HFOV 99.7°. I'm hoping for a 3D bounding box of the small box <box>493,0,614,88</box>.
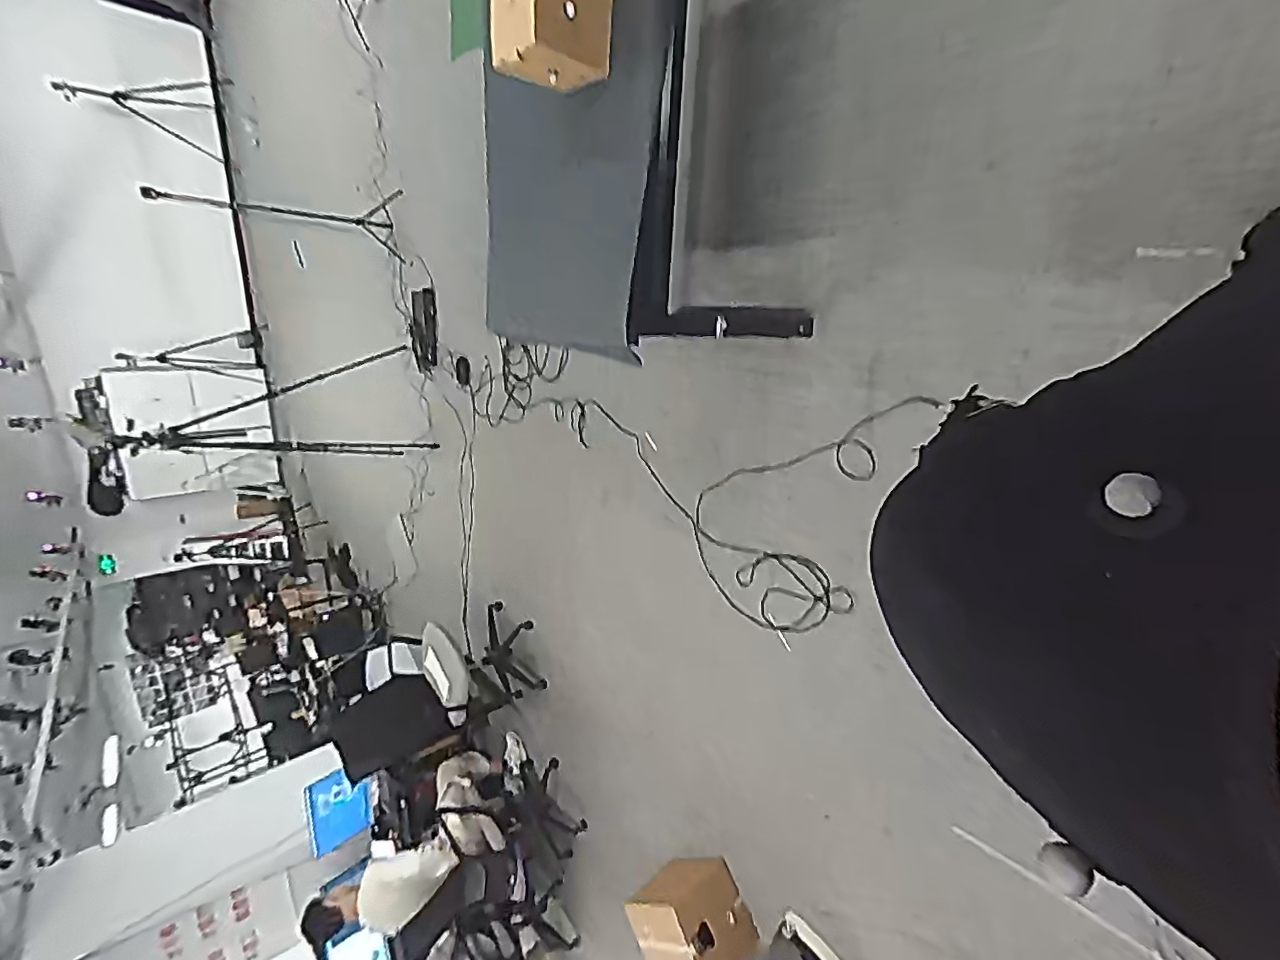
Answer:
[{"bbox_3d":[-0.163,-0.872,1.024,0.168,0.176,0.179,24,118,44],"label":"small box"}]
